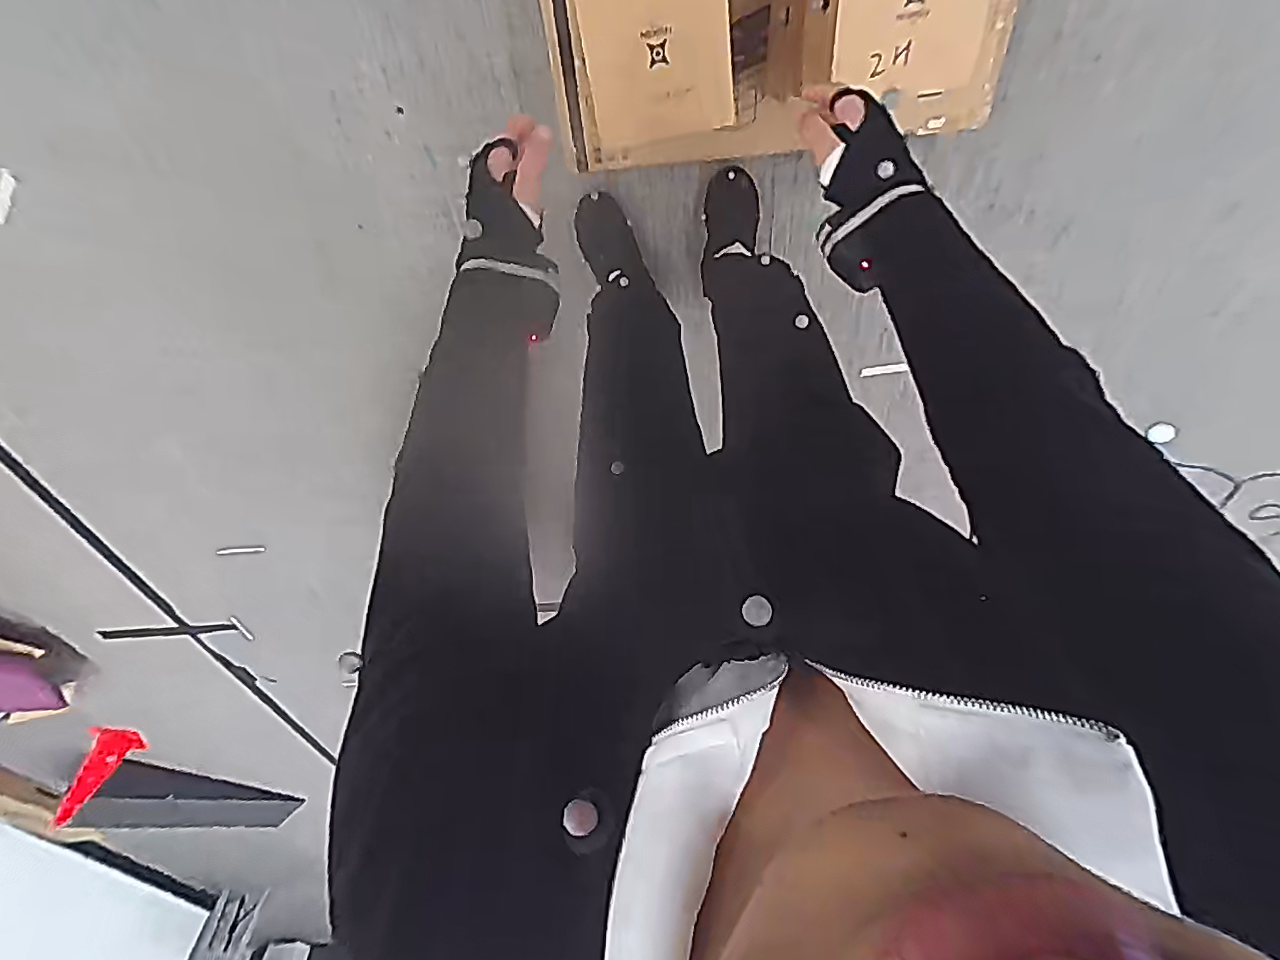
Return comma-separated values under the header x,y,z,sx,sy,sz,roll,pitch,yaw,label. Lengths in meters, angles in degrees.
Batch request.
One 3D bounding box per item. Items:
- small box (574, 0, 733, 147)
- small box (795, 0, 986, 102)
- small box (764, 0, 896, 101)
x,y,z,sx,sy,sz,roll,pitch,yaw,label
0.015,-0.537,0.666,0.168,0.176,0.179,-9,130,6,small box
0.289,-0.570,0.644,0.168,0.176,0.179,-5,129,3,small box
0.282,-0.663,0.782,0.168,0.176,0.179,-2,130,1,small box
